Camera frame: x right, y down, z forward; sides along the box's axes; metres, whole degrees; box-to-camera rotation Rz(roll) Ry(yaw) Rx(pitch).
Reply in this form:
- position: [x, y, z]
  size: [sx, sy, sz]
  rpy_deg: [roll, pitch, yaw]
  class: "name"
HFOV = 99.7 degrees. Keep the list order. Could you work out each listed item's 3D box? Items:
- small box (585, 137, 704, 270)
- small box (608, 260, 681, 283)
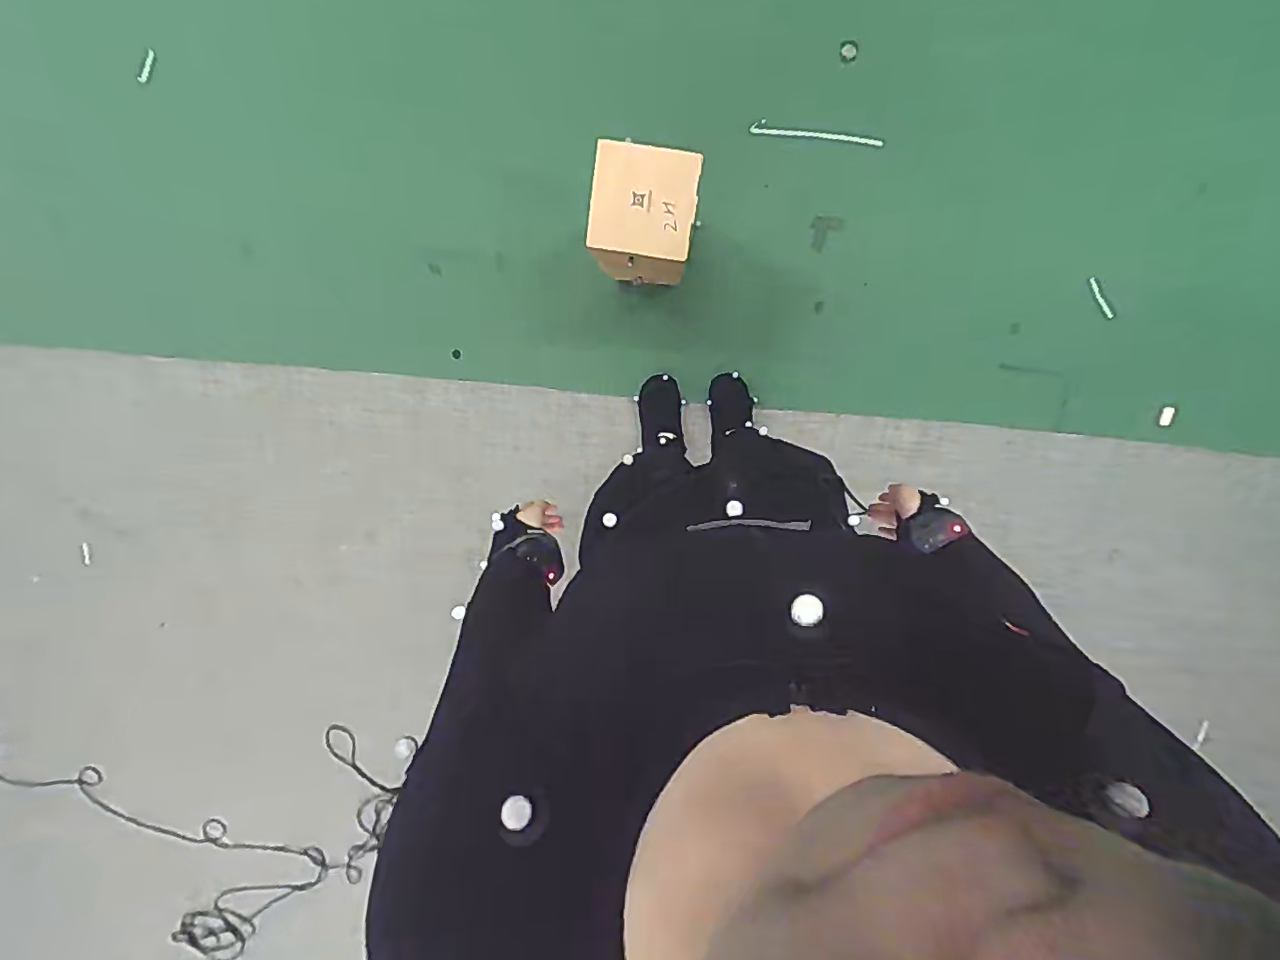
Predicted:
- position: [0.009, -0.477, 0.959]
  size: [0.179, 0.176, 0.168]
  rpy_deg: [9, 106, 0]
  class: "small box"
- position: [0.021, -0.569, 1.275]
  size: [0.168, 0.176, 0.179]
  rpy_deg: [7, 105, 1]
  class: "small box"
